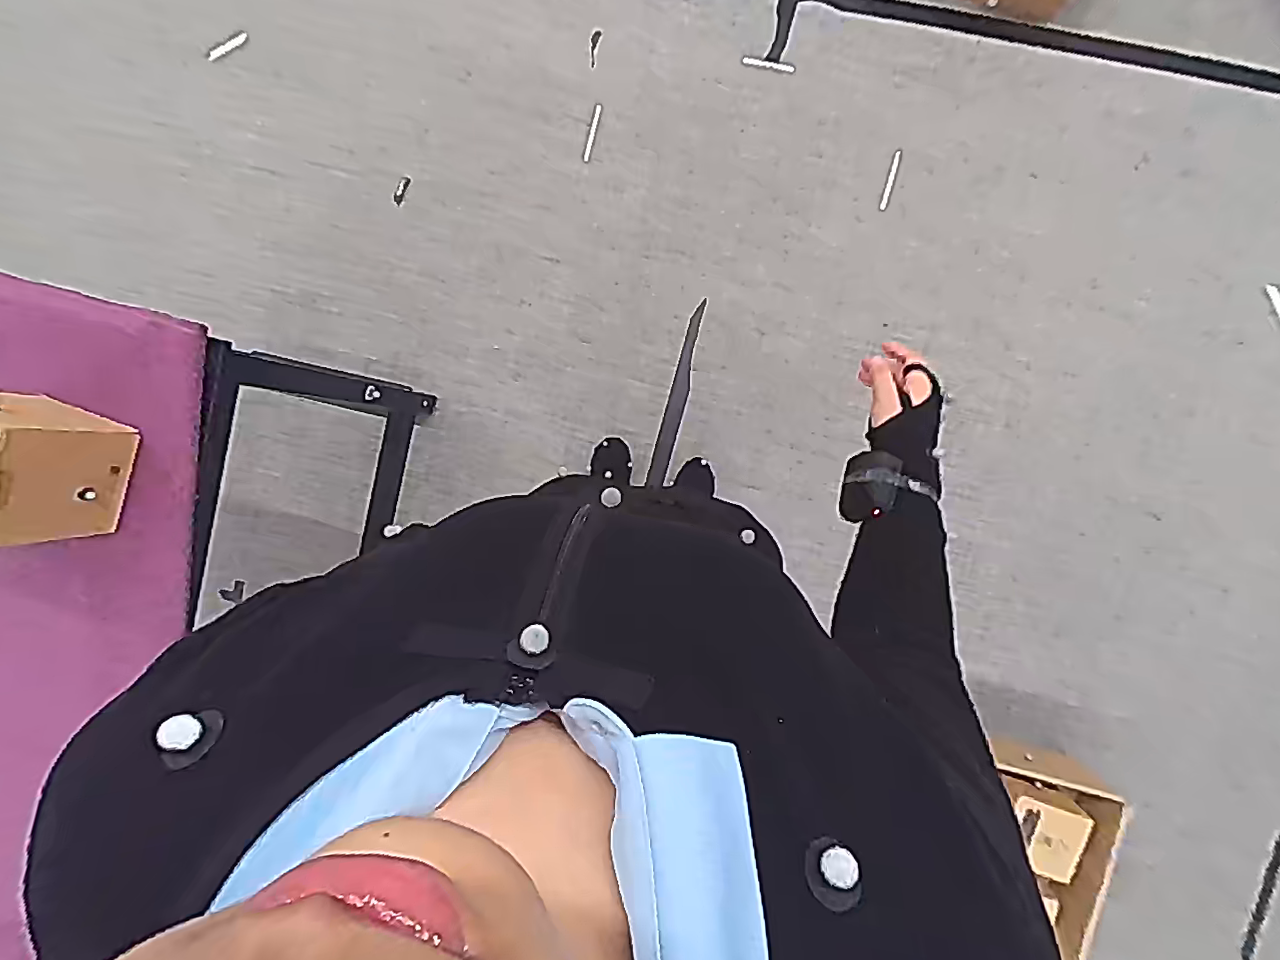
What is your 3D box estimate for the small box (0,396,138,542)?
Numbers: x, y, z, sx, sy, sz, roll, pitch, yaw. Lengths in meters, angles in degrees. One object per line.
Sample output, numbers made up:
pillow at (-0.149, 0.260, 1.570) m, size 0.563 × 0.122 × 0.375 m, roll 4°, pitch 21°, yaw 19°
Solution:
small box at (-0.870, -0.019, 0.749) m, size 0.179 × 0.176 × 0.168 m, roll 19°, pitch 94°, yaw 5°
